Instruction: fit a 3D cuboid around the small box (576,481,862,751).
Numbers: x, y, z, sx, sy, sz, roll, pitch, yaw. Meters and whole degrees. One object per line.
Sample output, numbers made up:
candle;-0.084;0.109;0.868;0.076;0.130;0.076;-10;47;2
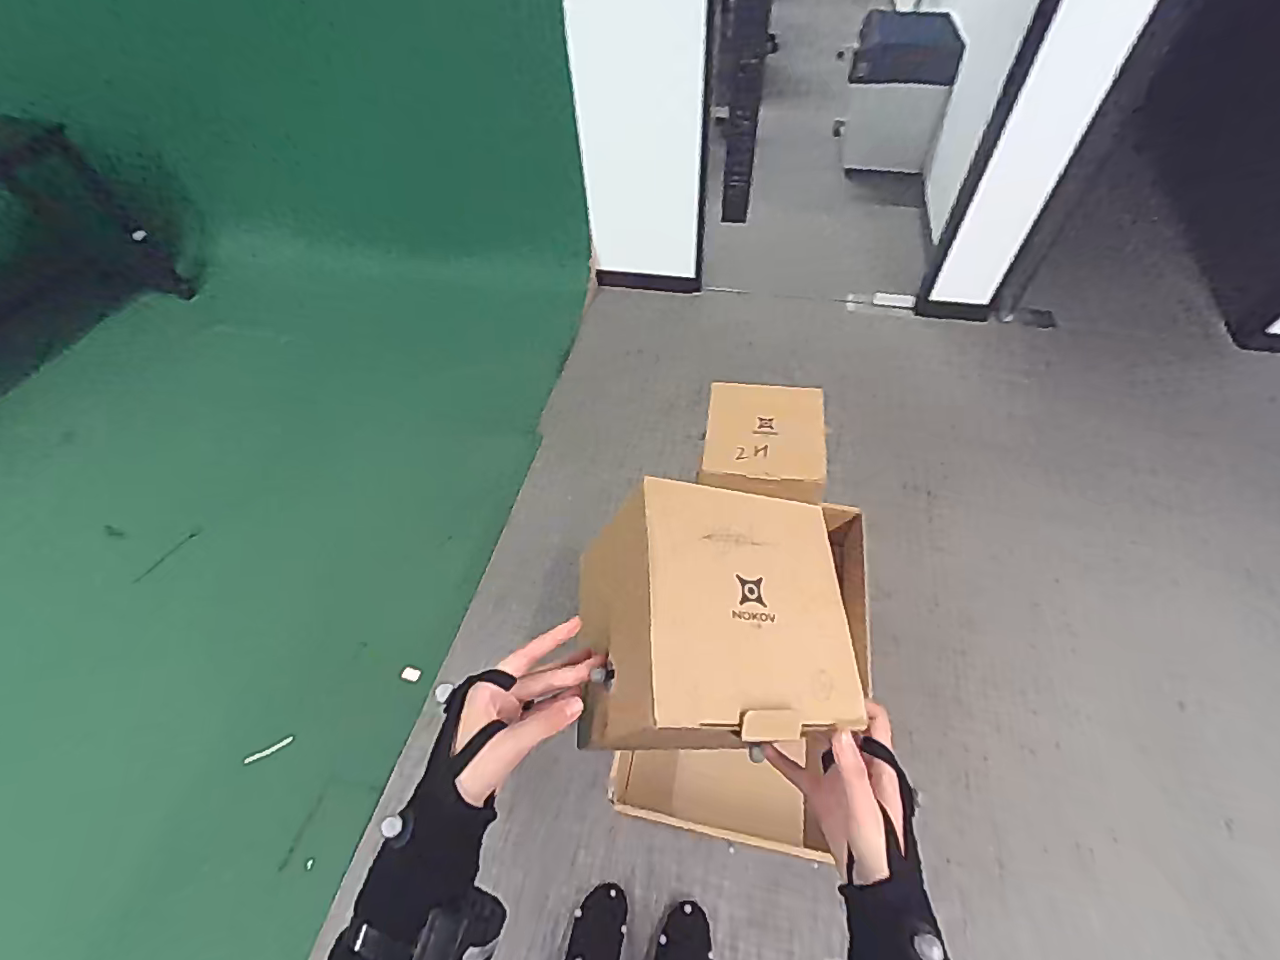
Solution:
small box;0.049;0.127;0.457;0.168;0.176;0.179;11;56;-20

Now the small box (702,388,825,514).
small box;0.184;-0.017;0.837;0.168;0.176;0.179;6;55;9
